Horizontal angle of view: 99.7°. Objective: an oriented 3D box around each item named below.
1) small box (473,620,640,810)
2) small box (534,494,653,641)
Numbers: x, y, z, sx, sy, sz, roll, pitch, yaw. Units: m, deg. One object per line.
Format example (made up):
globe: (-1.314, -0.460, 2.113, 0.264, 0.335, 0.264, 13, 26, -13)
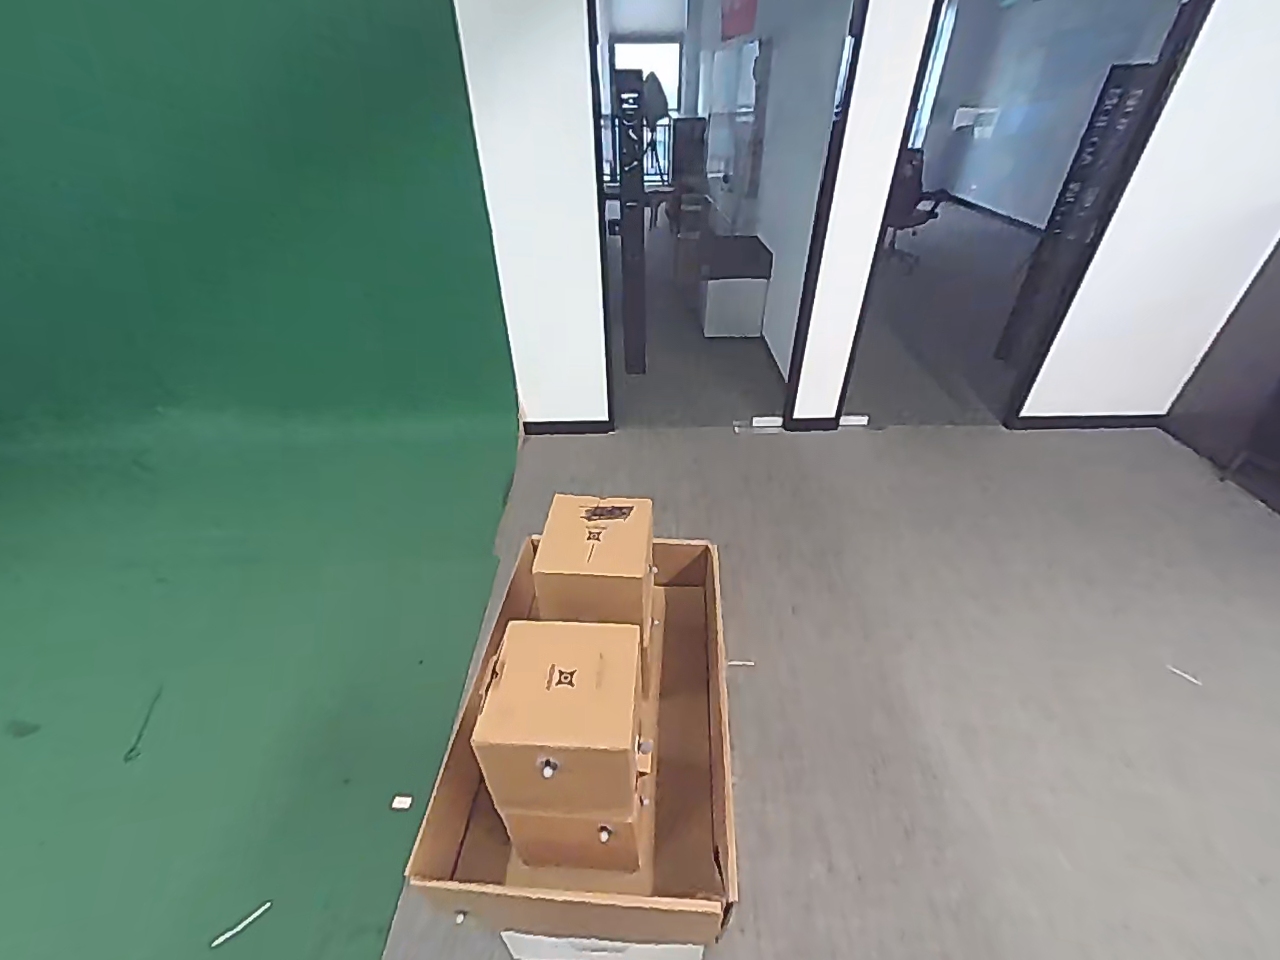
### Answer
small box: (-0.092, 0.302, 0.697, 0.179, 0.176, 0.168, 2, 37, 2)
small box: (-0.069, 0.146, 0.897, 0.168, 0.176, 0.179, 4, 40, 4)
